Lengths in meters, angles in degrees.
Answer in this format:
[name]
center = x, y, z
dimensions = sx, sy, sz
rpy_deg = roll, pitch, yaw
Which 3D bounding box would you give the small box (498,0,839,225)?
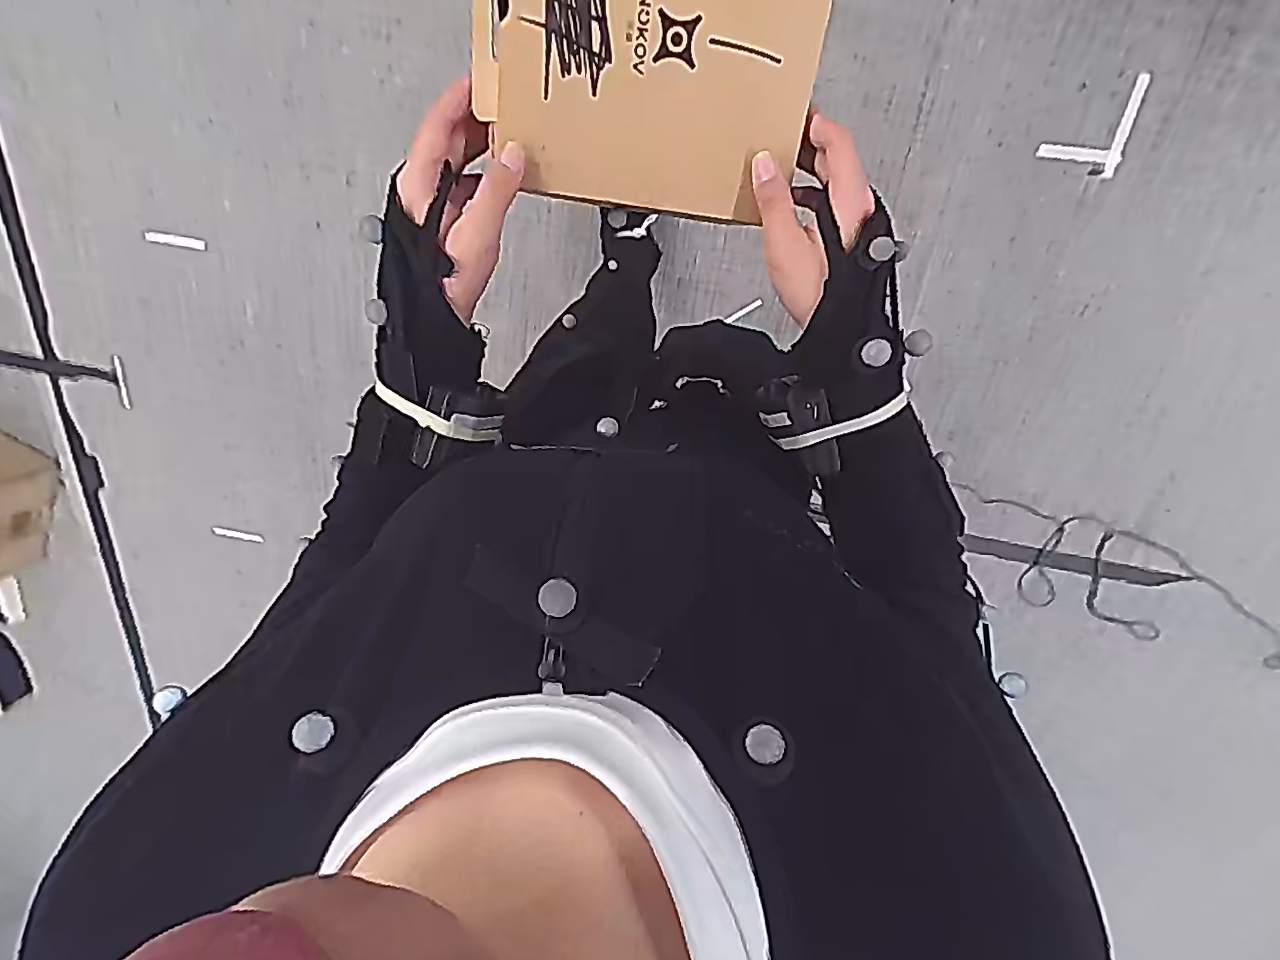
[small box]
center = 0.012, -0.272, 0.360
dimensions = 0.179, 0.176, 0.168
rpy_deg = 6, 116, -6
